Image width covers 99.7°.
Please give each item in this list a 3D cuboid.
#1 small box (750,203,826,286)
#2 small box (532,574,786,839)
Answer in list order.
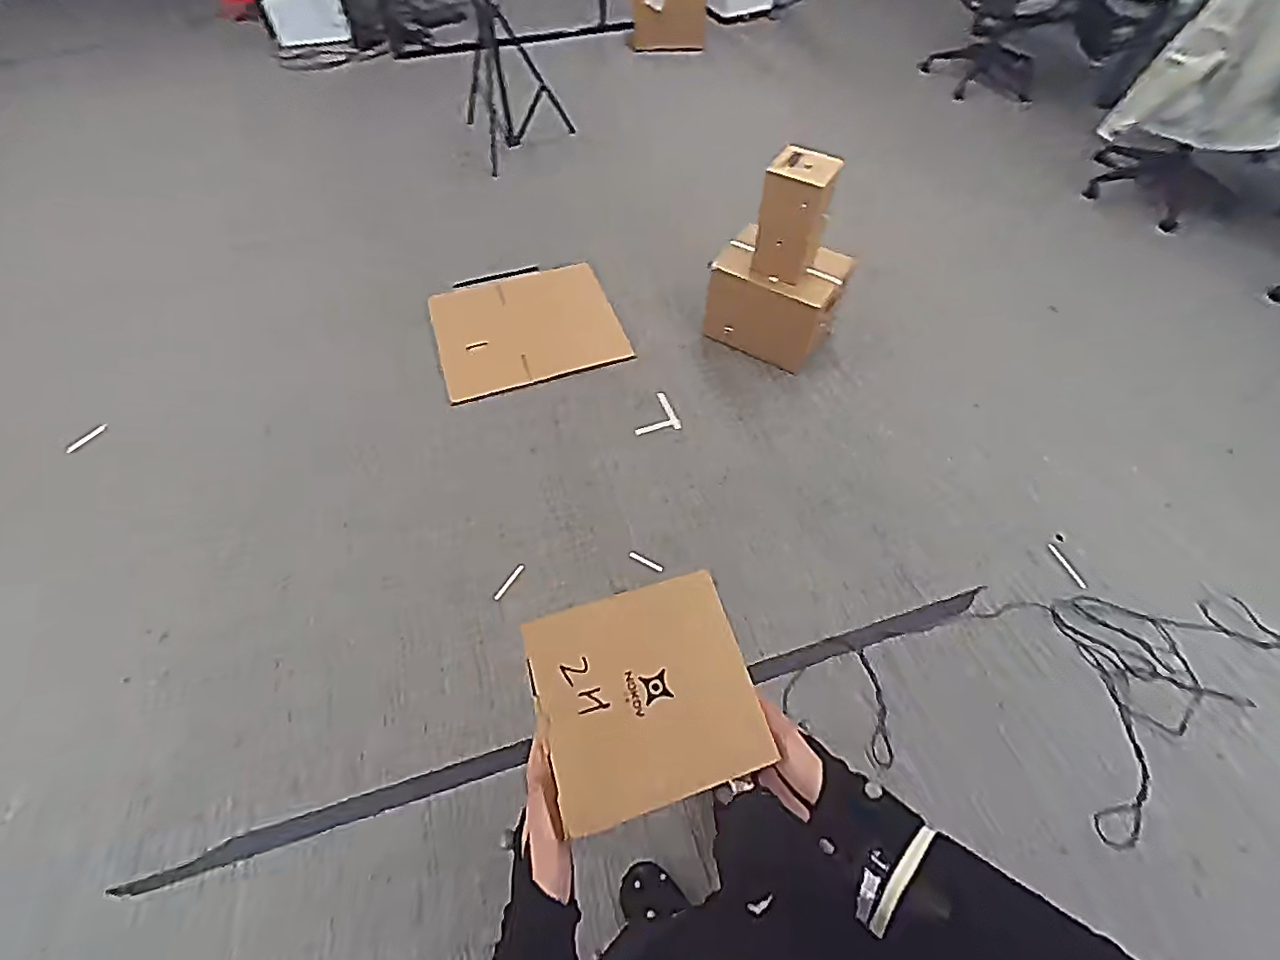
[{"bbox_3d":[0.479,-0.771,1.780,0.179,0.176,0.168,27,62,16],"label":"small box"},{"bbox_3d":[0.005,0.208,0.510,0.179,0.176,0.168,-13,64,-11],"label":"small box"}]
